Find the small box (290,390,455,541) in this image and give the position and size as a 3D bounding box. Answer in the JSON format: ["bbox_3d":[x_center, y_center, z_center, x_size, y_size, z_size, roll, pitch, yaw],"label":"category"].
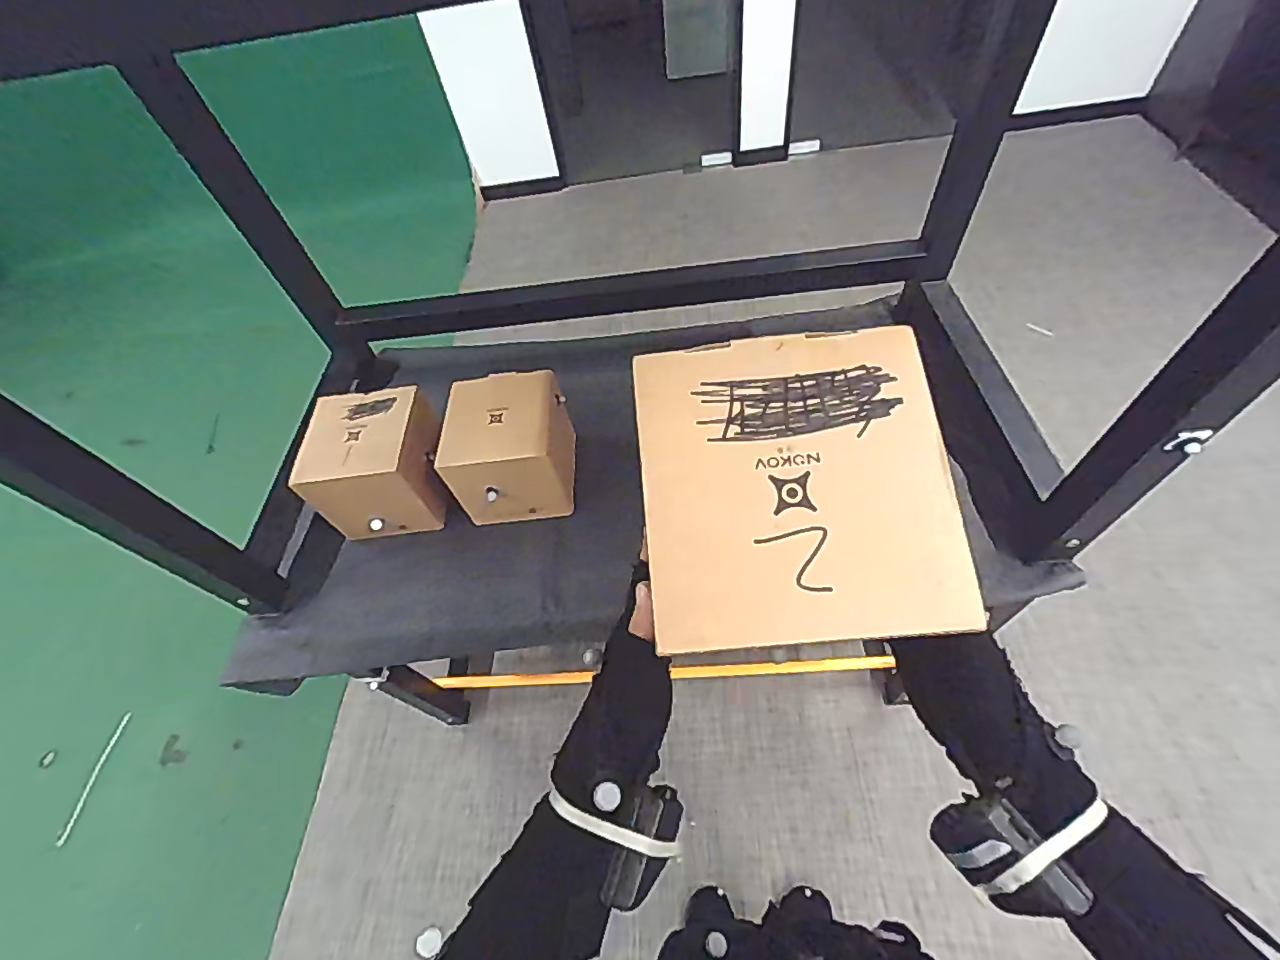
[{"bbox_3d":[-0.420,-0.020,0.889,0.168,0.176,0.179,-7,54,4],"label":"small box"}]
